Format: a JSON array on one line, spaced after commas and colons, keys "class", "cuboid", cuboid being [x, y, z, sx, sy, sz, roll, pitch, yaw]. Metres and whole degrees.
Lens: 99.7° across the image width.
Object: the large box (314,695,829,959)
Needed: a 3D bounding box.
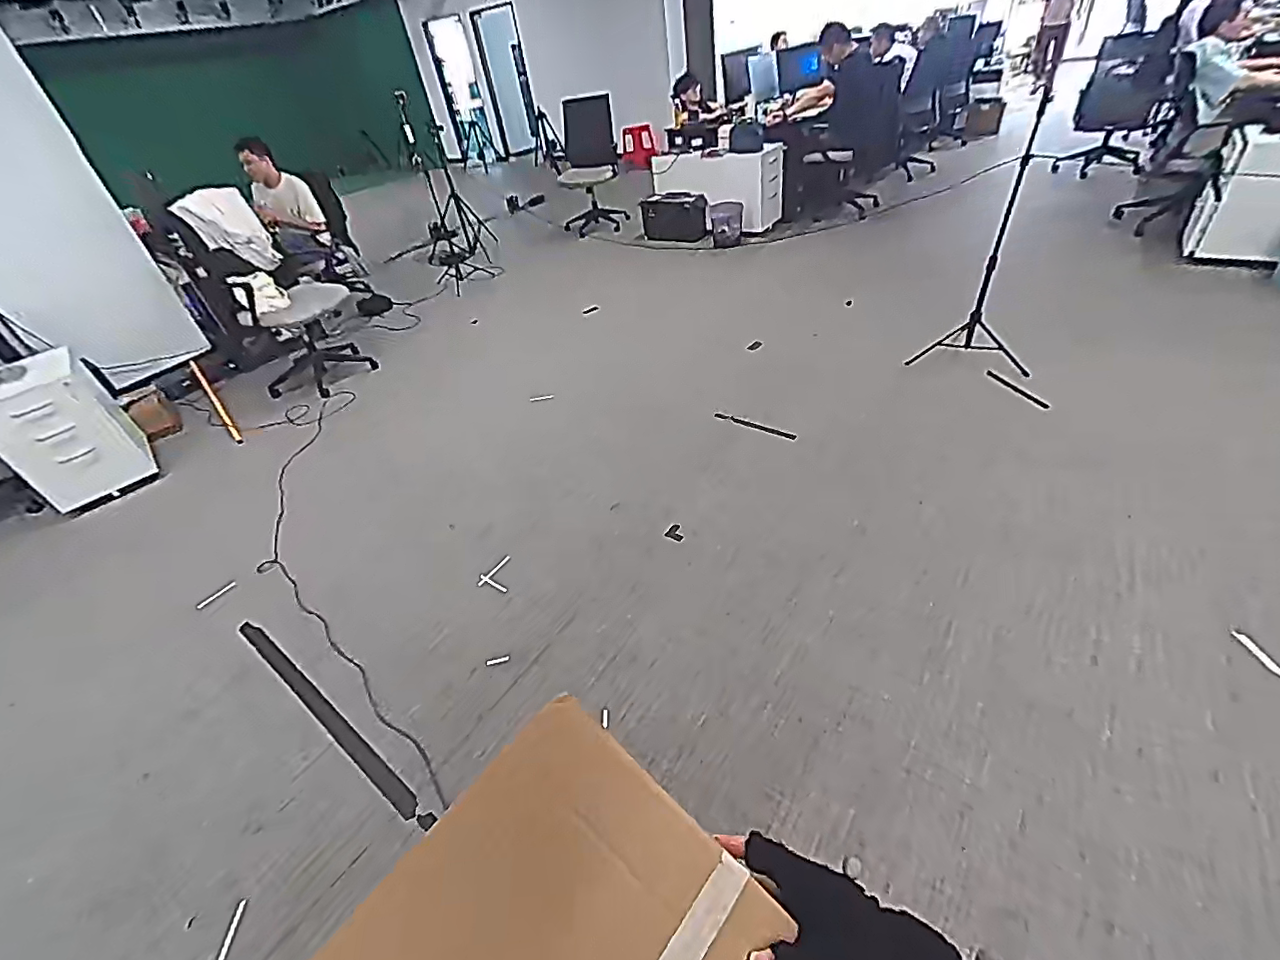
[{"class": "large box", "cuboid": [-0.101, 0.440, 0.379, 0.320, 0.320, 0.408, 42, 58, 11]}]
